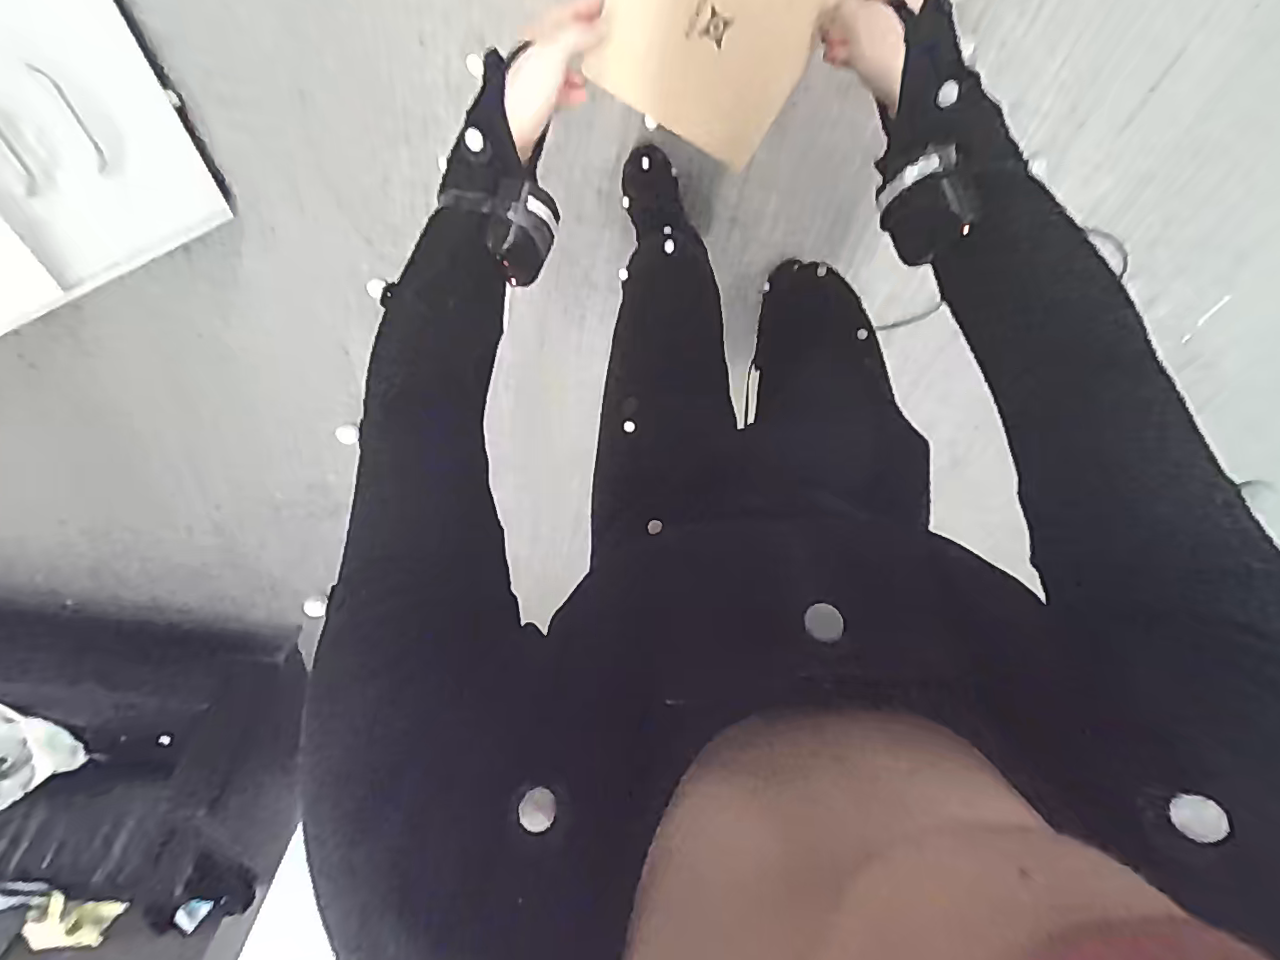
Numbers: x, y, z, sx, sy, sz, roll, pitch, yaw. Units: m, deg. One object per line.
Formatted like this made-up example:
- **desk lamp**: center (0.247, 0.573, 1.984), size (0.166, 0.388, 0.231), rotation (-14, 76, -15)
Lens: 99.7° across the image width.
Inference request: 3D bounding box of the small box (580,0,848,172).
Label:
- **small box**: center (0.063, -0.437, 0.505), size (0.179, 0.176, 0.168), rotation (21, 134, -18)
